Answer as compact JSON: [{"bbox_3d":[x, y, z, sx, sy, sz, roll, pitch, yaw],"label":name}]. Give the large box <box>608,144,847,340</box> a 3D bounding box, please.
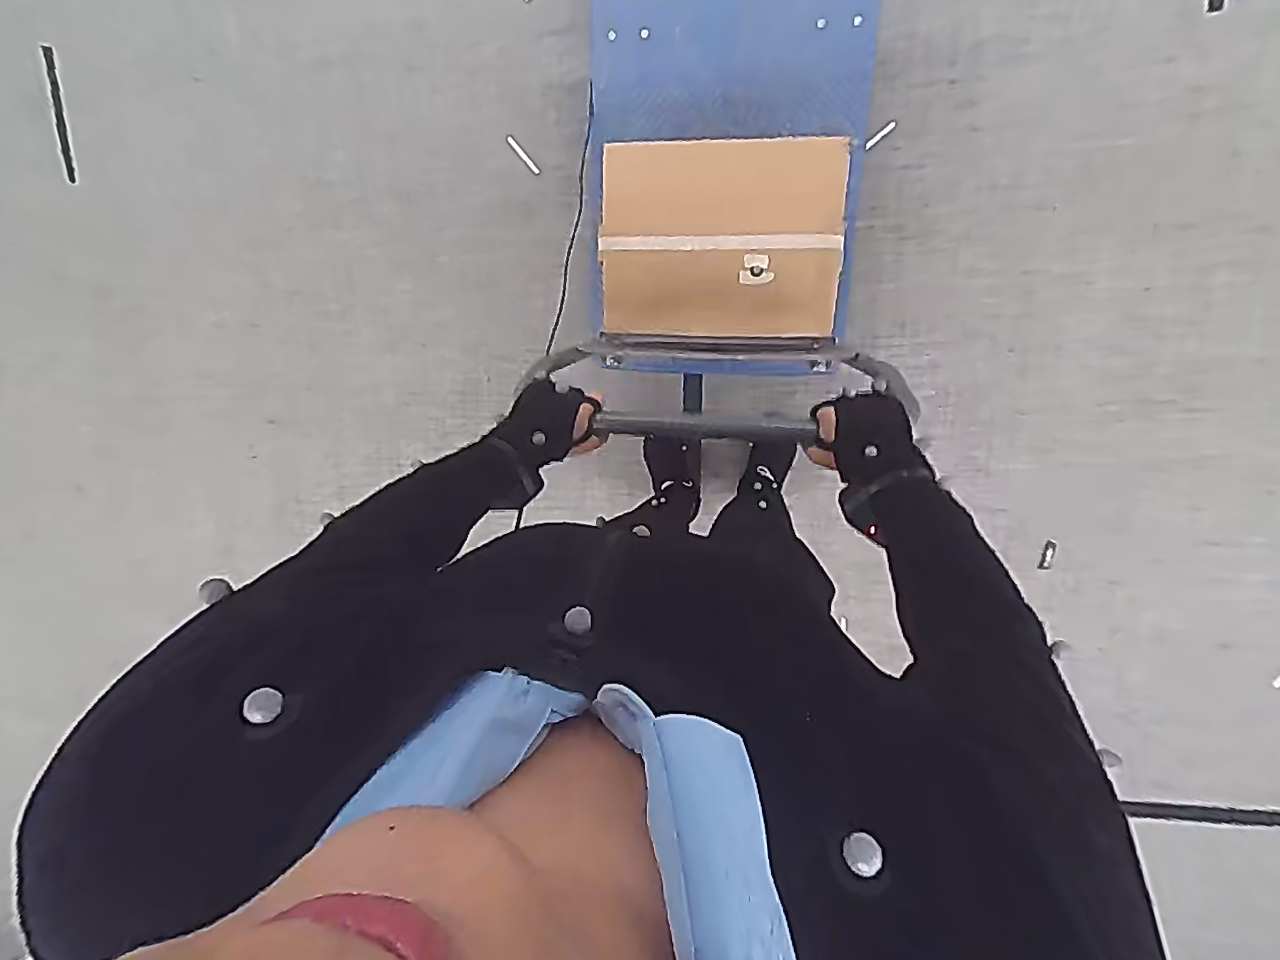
[{"bbox_3d":[0.158,-0.443,1.082,0.408,0.320,0.320,3,106,7],"label":"large box"}]
